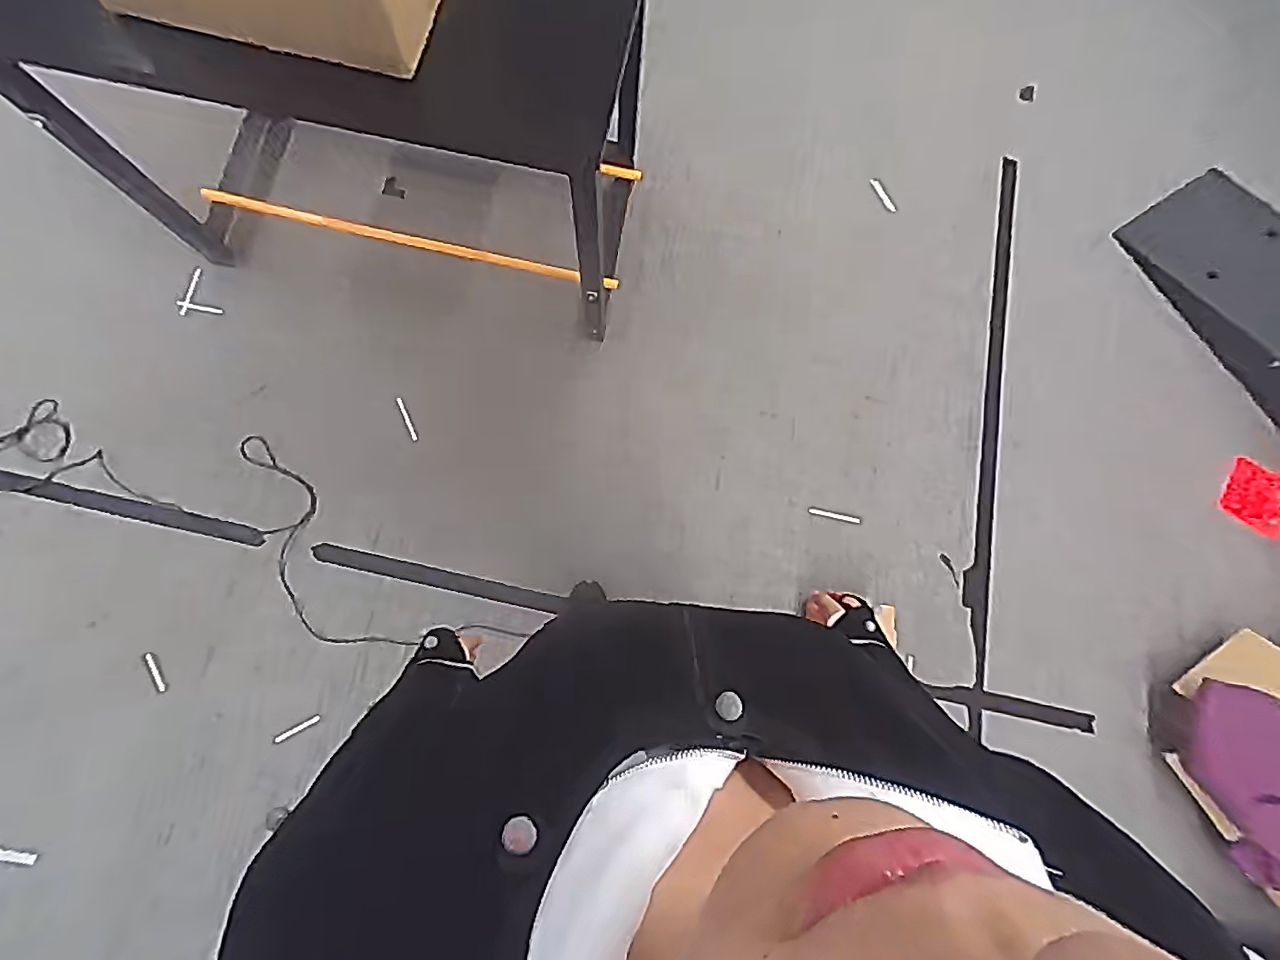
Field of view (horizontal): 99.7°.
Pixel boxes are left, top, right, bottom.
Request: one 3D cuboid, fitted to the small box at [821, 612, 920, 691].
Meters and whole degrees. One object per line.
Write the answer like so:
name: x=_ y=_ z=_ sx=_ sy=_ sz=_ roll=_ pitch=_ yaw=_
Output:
small box: x=0.574 y=0.424 z=1.360 sx=0.179 sy=0.176 sz=0.168 roll=5 pitch=79 yaw=-1
